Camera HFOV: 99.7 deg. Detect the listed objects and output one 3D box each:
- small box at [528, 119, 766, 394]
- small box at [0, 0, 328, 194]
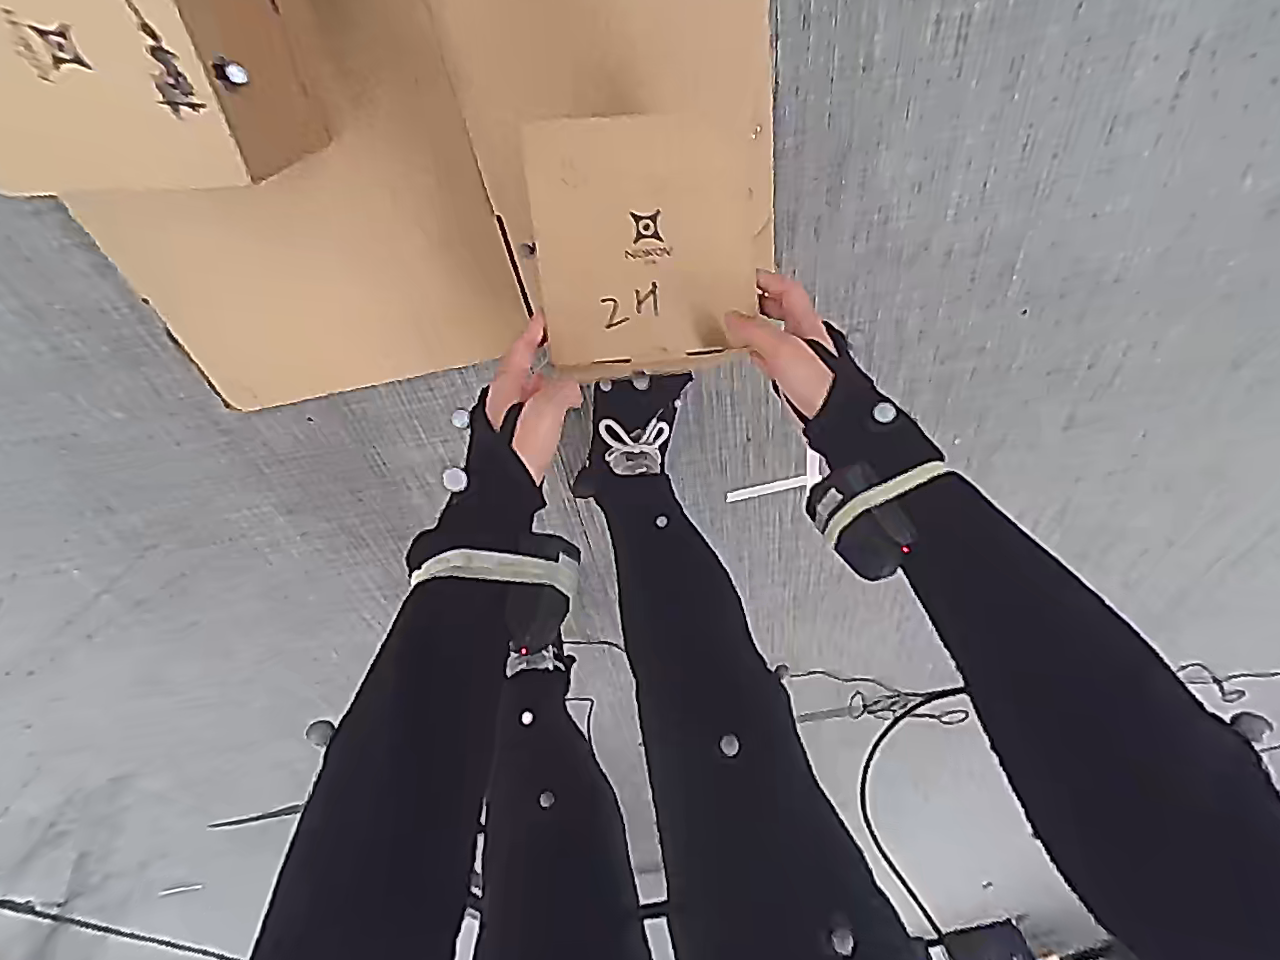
[{"bbox_3d":[-0.004,-0.180,0.479,0.168,0.176,0.179,-8,95,-7],"label":"small box"},{"bbox_3d":[-0.373,-0.321,0.399,0.179,0.176,0.168,-4,131,-3],"label":"small box"}]
